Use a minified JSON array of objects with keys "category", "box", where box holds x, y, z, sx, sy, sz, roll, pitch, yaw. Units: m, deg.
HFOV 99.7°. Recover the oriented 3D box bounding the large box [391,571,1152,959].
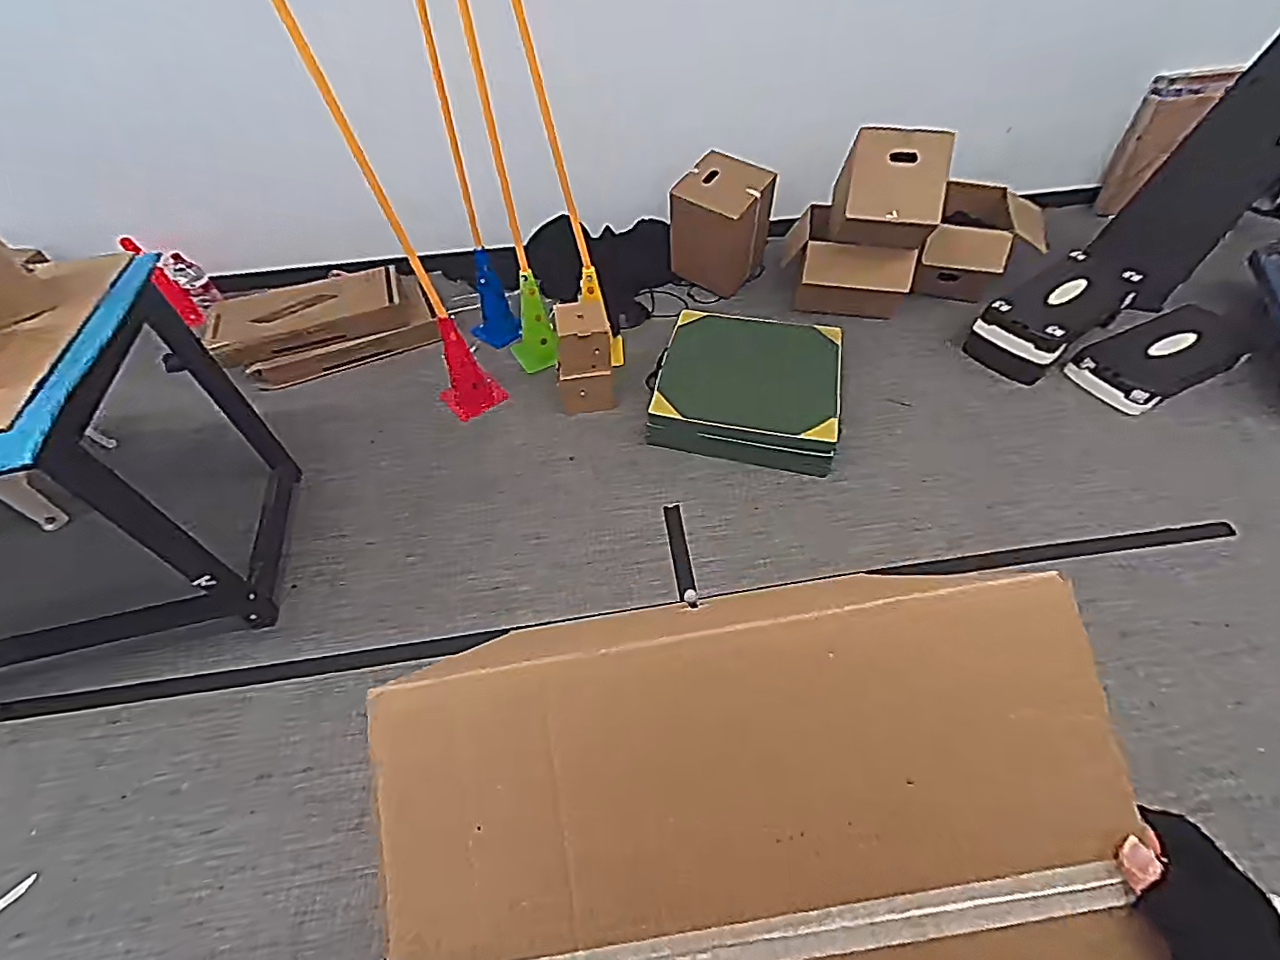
[{"category":"large box","box":[0.079,0.266,0.446,0.408,0.320,0.320,-10,80,0]}]
